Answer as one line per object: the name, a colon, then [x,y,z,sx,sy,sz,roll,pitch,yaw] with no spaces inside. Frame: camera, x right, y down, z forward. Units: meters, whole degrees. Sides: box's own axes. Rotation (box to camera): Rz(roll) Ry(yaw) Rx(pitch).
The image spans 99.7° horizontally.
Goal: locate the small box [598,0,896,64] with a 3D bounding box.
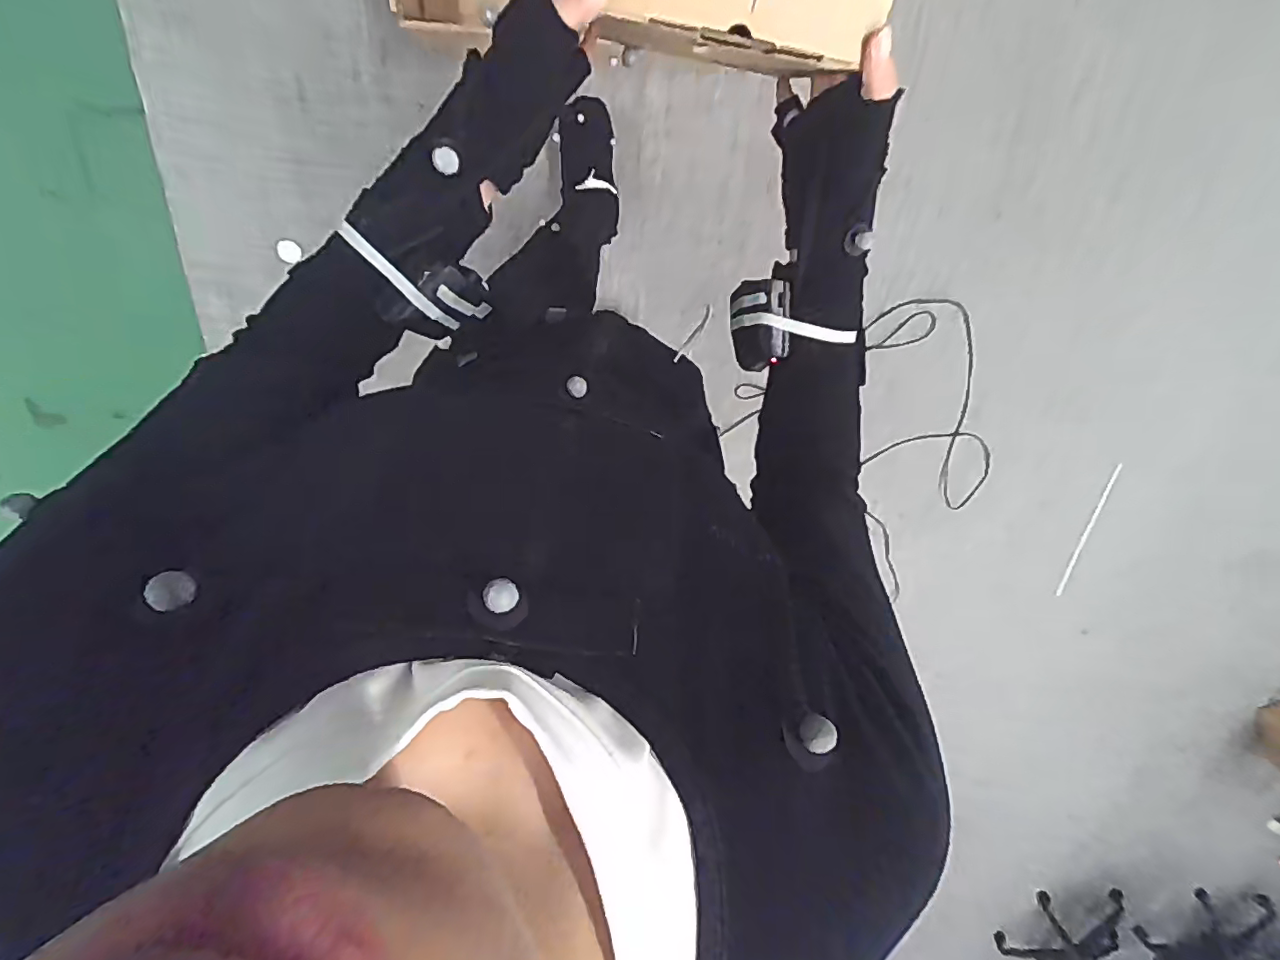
small box: [0.066,-0.368,0.318,0.168,0.176,0.179,4,125,-10]
